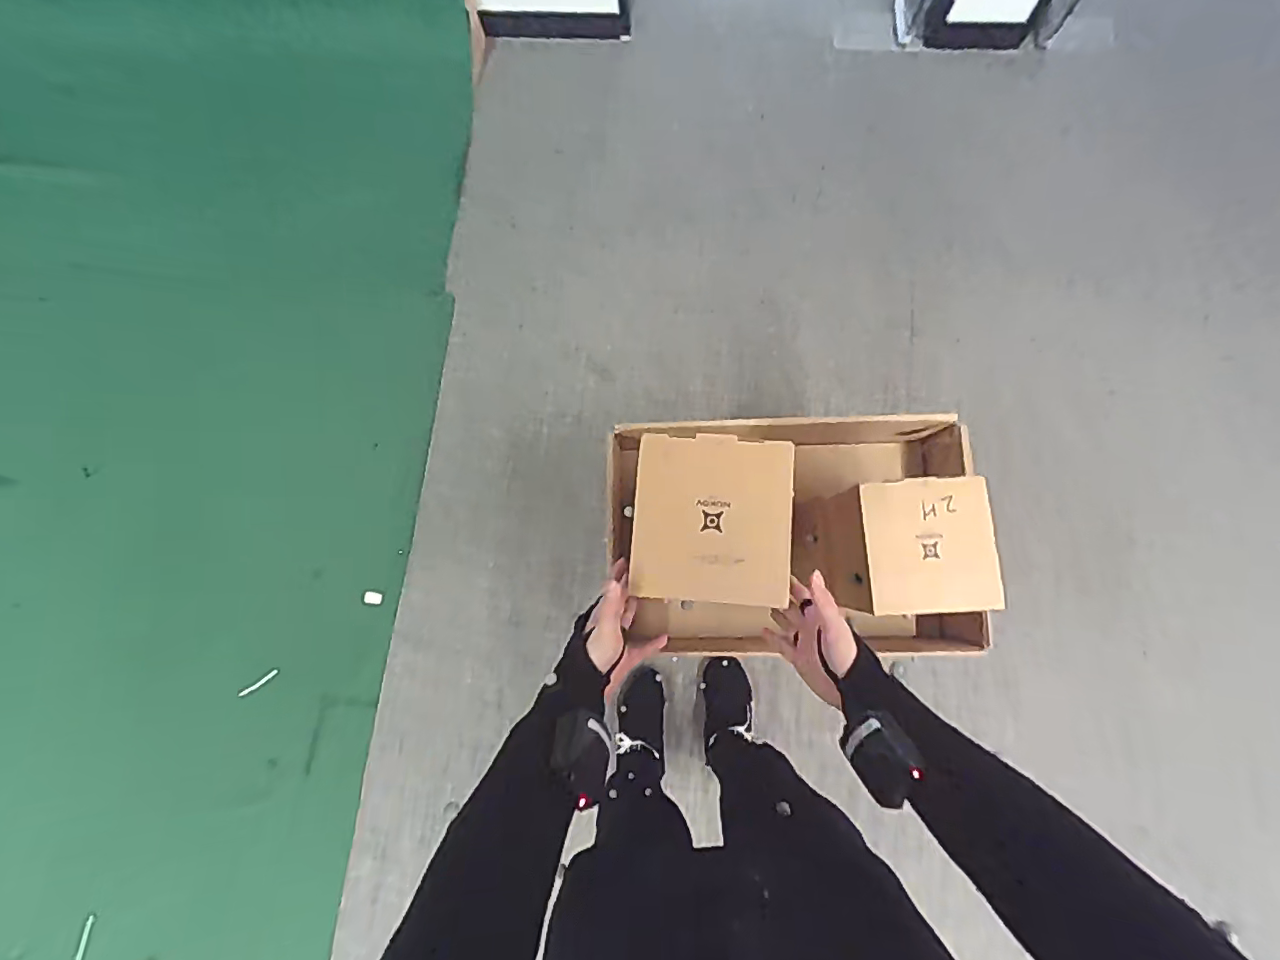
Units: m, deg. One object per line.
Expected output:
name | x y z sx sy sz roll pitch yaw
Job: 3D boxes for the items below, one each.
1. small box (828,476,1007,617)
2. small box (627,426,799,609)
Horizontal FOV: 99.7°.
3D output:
small box | 0.378 0.096 0.768 0.168 0.176 0.179 -3 80 2
small box | 0.081 0.050 0.630 0.168 0.176 0.179 5 80 5
